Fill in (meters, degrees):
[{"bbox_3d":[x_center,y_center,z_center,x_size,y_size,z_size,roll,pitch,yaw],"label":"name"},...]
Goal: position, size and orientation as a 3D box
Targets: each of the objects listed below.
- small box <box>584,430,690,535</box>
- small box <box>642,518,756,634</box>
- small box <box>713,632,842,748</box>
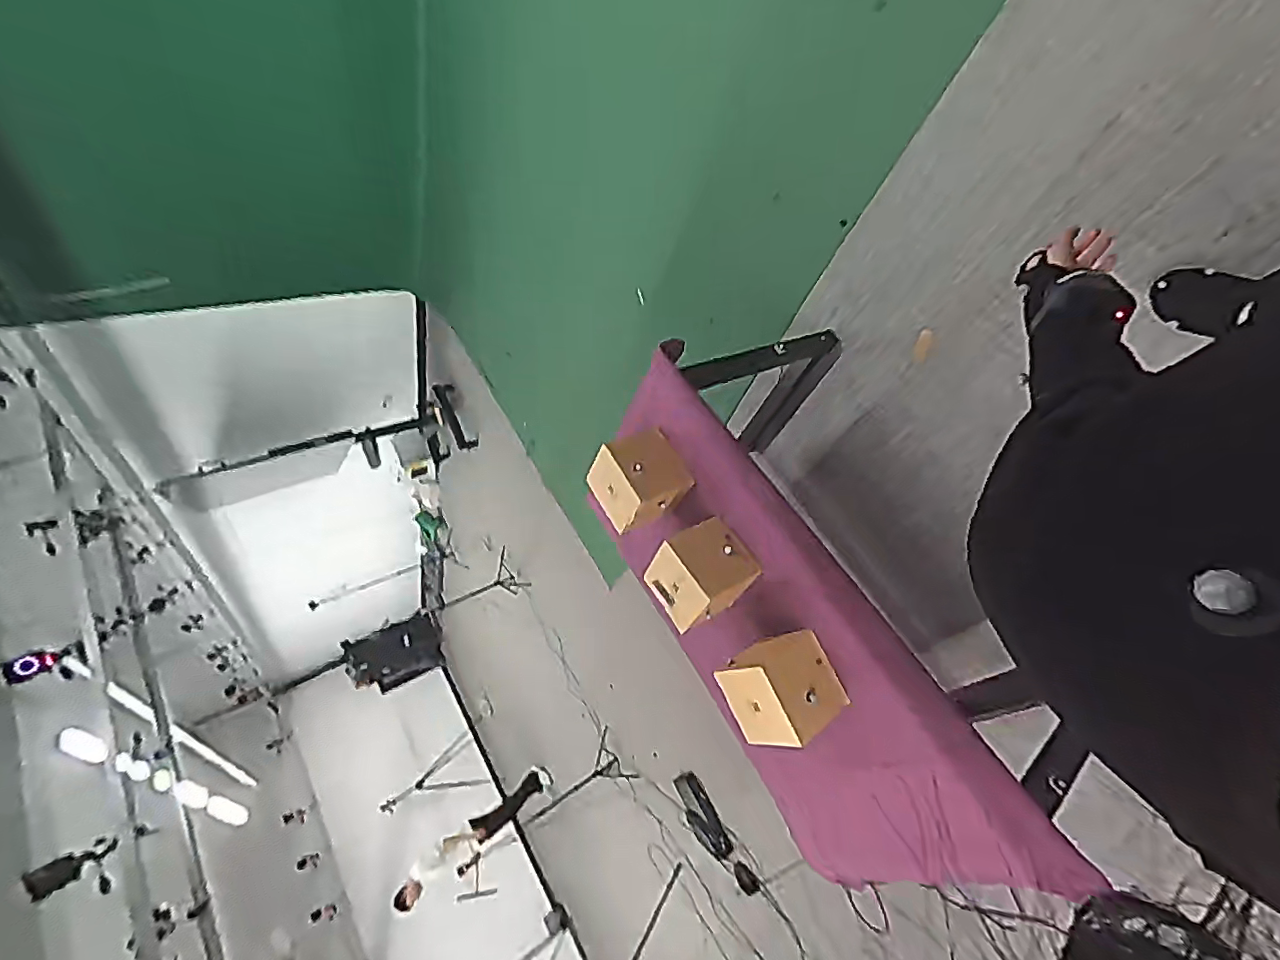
[{"bbox_3d":[-0.007,0.003,1.327,0.179,0.176,0.168,57,146,17],"label":"small box"},{"bbox_3d":[0.135,0.218,1.244,0.168,0.176,0.179,52,143,23],"label":"small box"},{"bbox_3d":[0.295,0.437,1.139,0.168,0.176,0.179,62,147,9],"label":"small box"}]
